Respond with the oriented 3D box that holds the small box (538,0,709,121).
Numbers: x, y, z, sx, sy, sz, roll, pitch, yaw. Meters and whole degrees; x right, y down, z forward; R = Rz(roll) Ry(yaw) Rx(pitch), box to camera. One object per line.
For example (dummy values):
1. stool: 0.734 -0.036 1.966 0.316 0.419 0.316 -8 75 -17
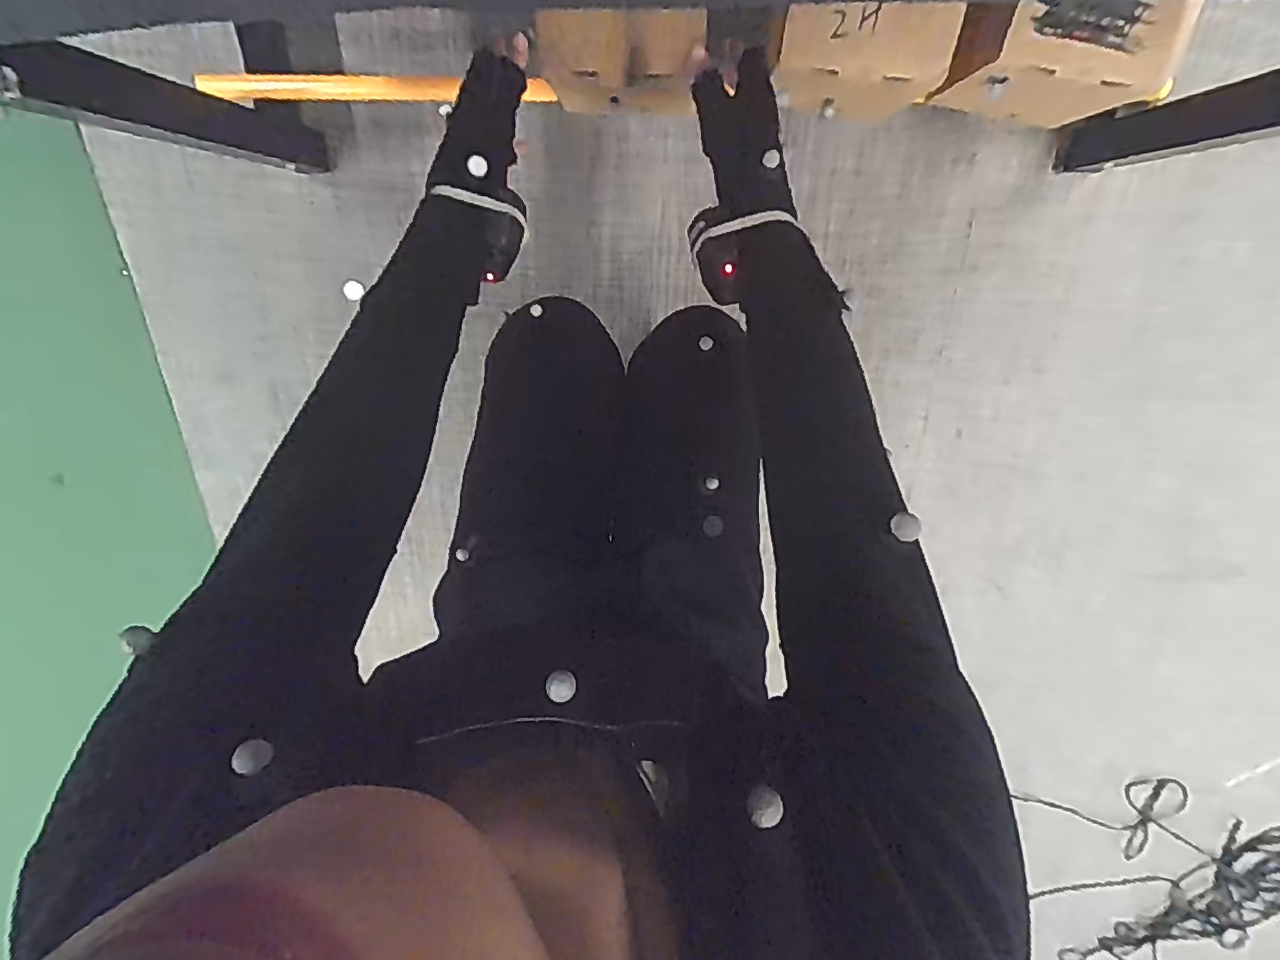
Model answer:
1. small box: -0.014 -0.509 0.578 0.168 0.176 0.179 3 114 0
